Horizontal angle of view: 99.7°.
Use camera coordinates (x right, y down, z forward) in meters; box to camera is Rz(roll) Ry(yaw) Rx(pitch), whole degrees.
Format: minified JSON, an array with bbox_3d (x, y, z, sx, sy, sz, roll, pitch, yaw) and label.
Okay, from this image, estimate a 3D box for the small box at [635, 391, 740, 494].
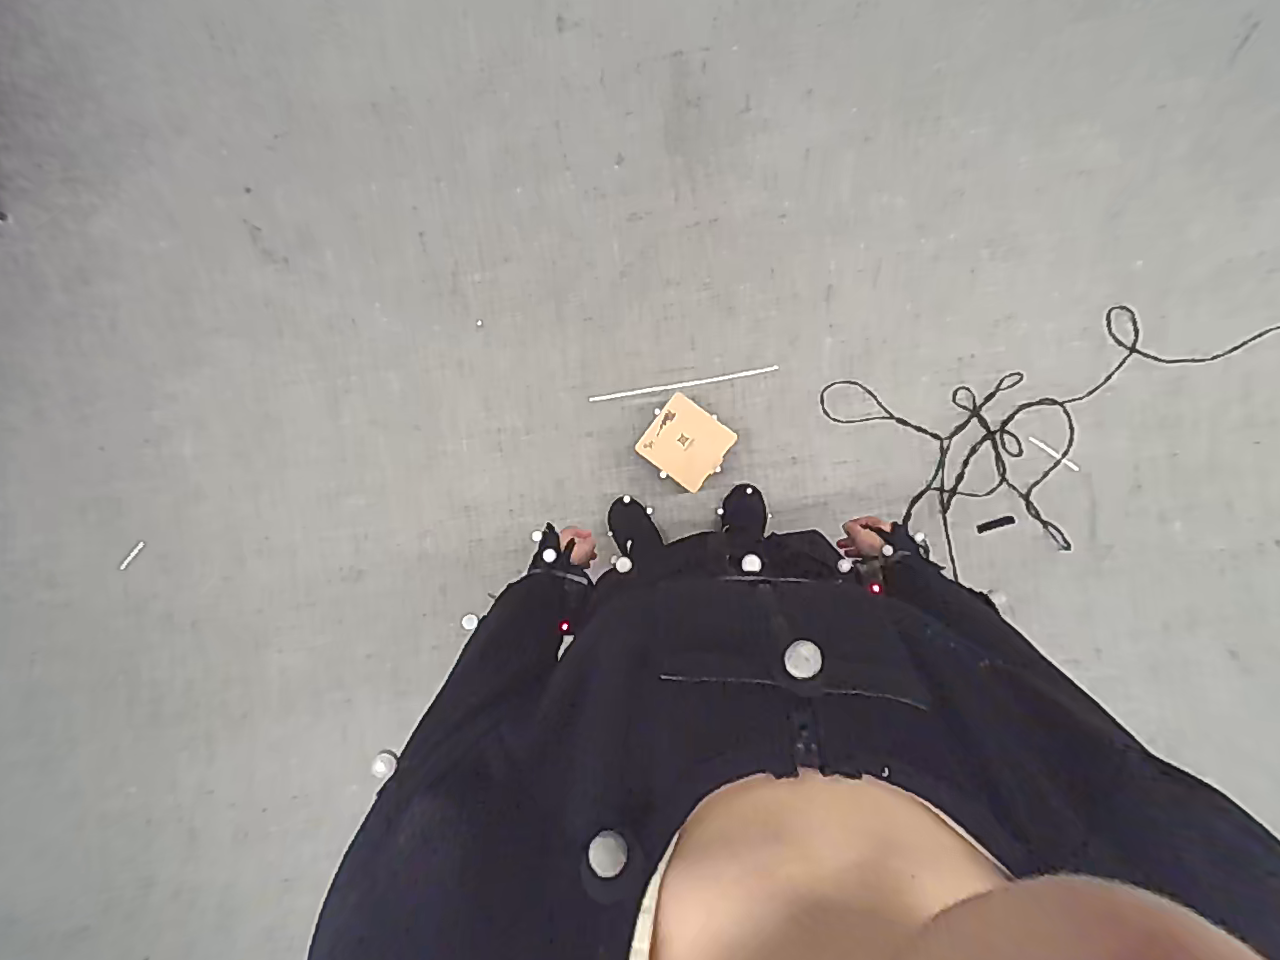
[{"bbox_3d":[0.112,-0.087,1.276,0.179,0.176,0.168,38,93,3],"label":"small box"}]
